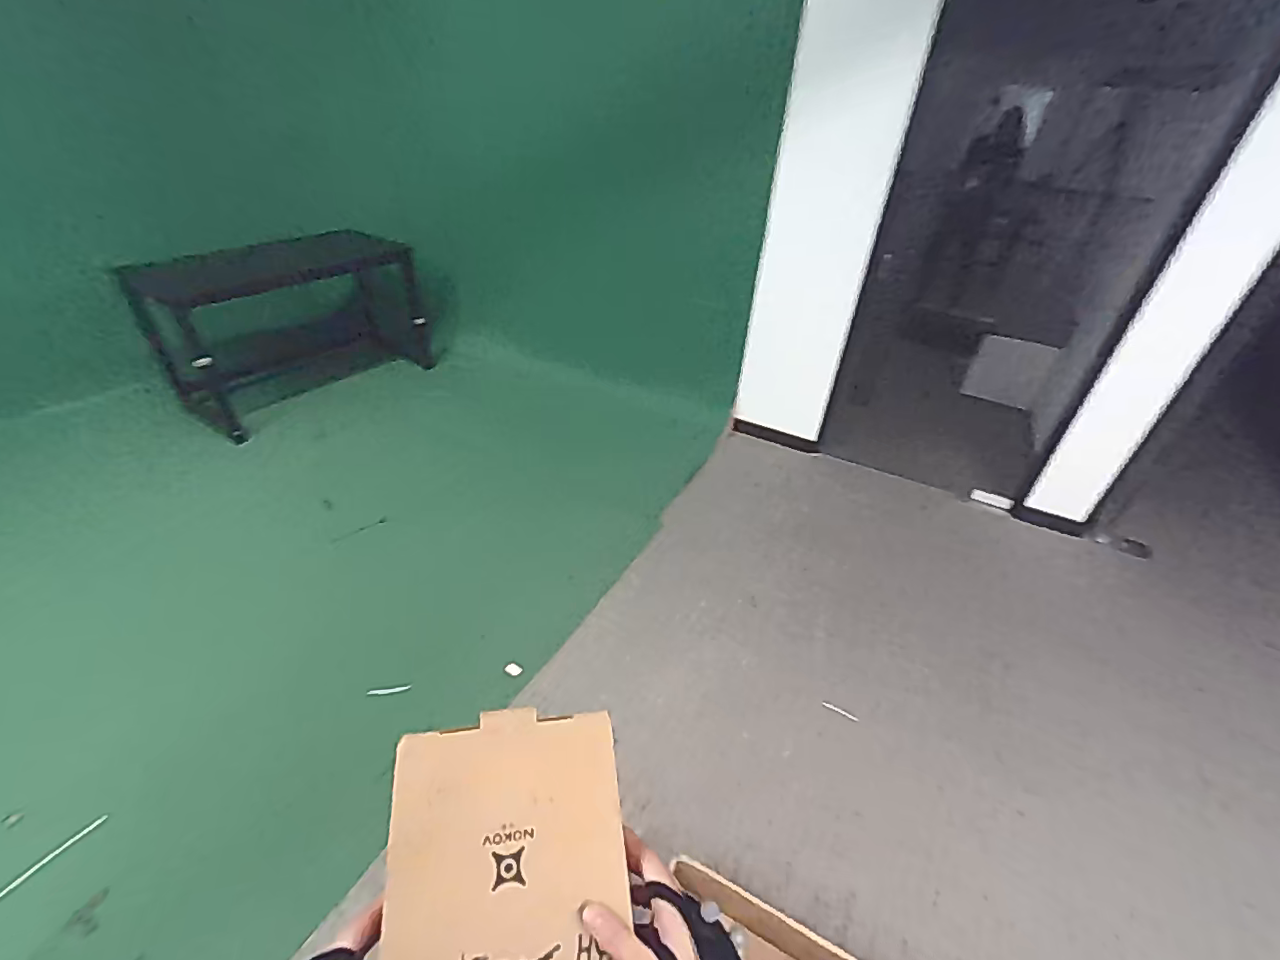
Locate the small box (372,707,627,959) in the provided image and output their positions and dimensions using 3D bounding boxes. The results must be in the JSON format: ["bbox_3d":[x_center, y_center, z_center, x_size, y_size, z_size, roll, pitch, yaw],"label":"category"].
[{"bbox_3d":[-0.111,0.309,0.453,0.168,0.176,0.179,-2,56,-12],"label":"small box"}]
